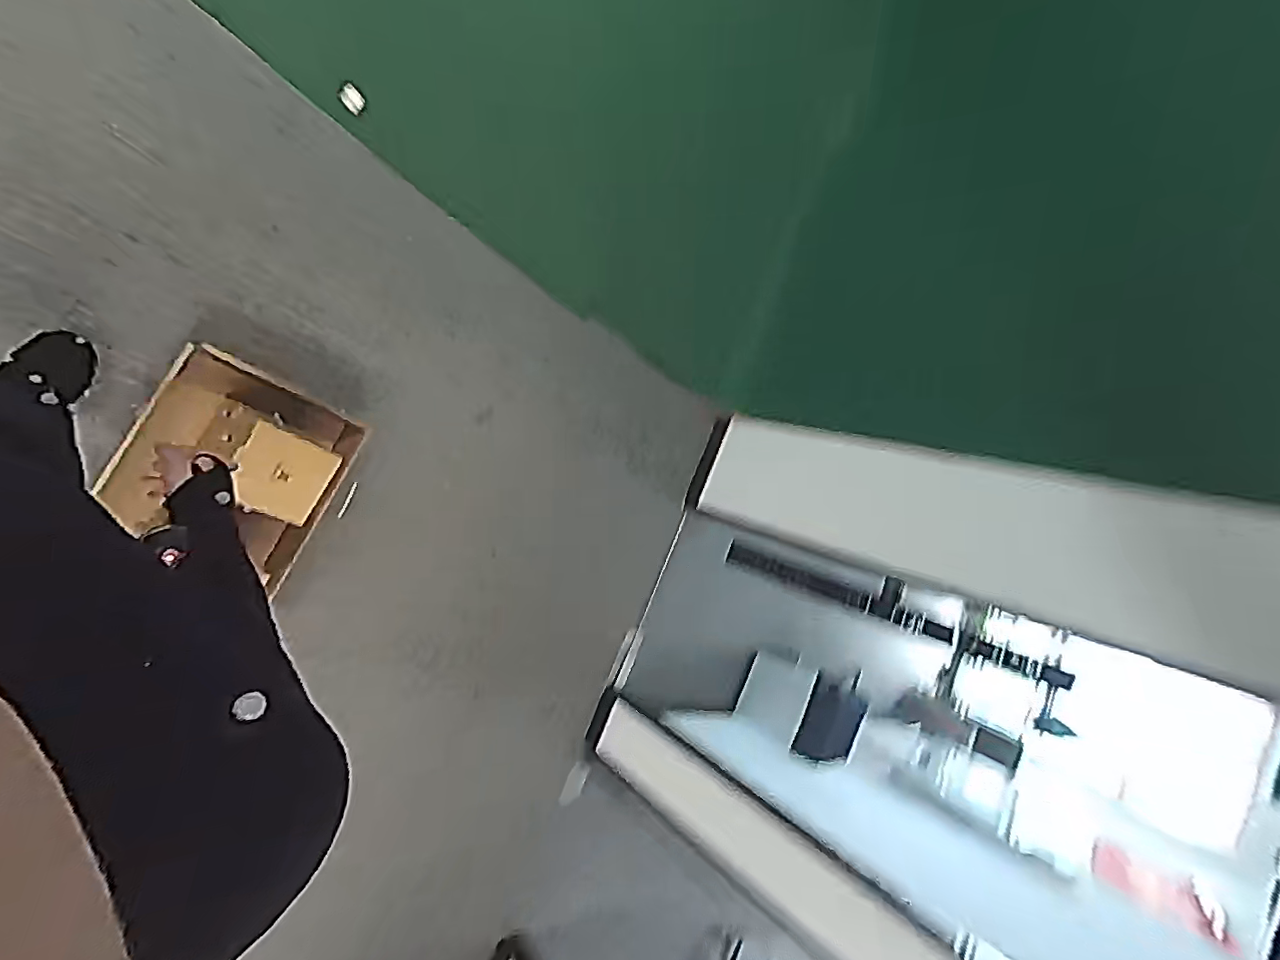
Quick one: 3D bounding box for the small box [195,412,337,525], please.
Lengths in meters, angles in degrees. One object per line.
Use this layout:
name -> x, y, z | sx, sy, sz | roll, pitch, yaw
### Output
small box -> -0.795, -0.029, 1.149 | 0.179, 0.176, 0.168 | 37, 77, -46

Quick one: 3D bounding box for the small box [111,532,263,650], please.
small box -> -0.923, 0.219, 1.099 | 0.179, 0.176, 0.168 | 39, 73, -46
